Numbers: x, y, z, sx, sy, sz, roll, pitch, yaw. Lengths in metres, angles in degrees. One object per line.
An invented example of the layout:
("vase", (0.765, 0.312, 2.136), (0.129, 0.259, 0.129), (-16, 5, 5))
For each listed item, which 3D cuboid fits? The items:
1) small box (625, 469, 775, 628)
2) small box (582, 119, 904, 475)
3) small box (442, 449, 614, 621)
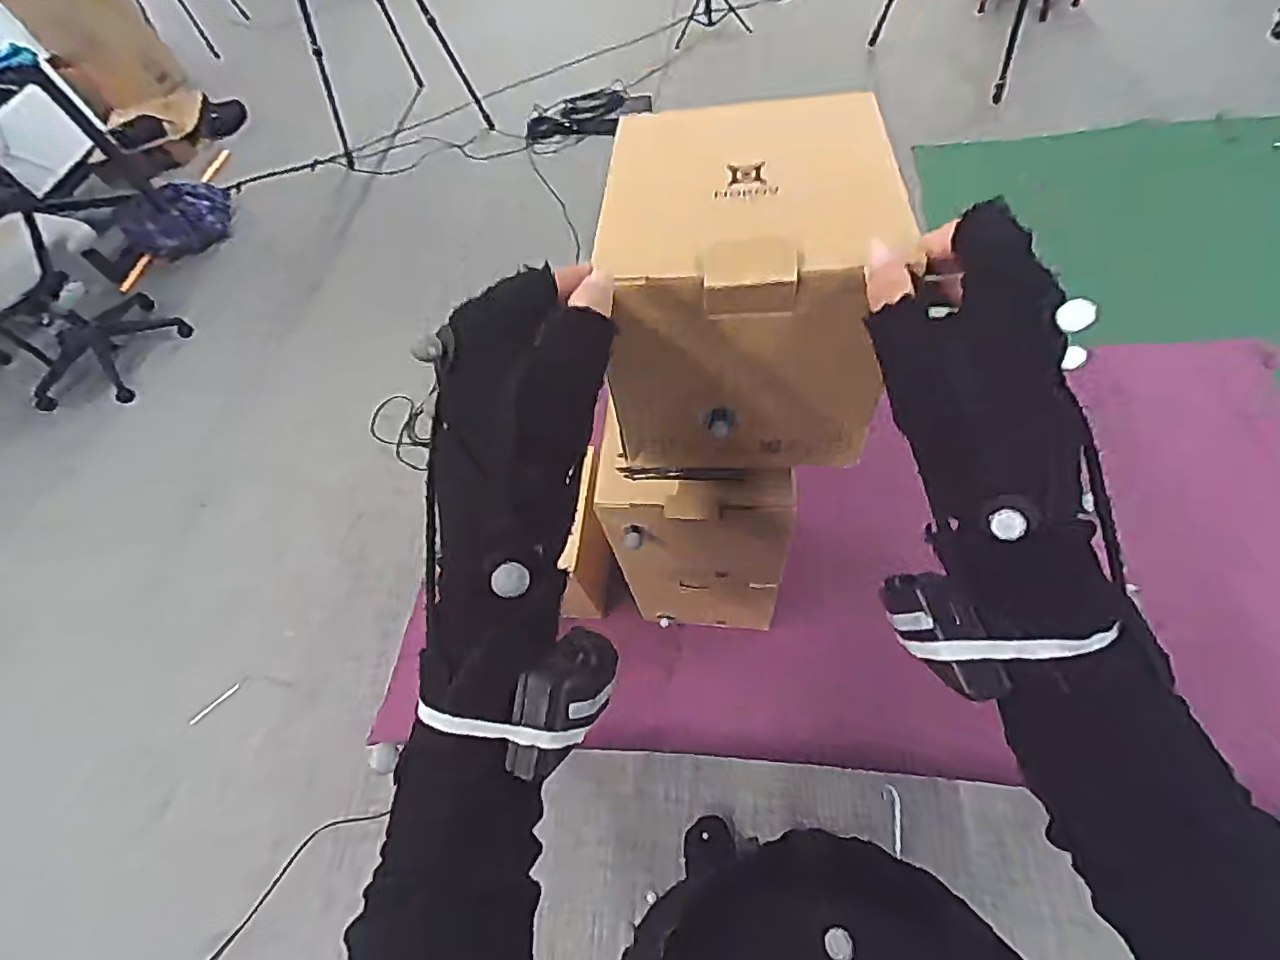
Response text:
("small box", (0.084, 0.079, 0.690), (0.168, 0.176, 0.179), (2, 59, 10))
("small box", (0.065, -0.123, 0.387), (0.168, 0.176, 0.179), (0, 56, 8))
("small box", (-0.134, 0.076, 0.727), (0.168, 0.176, 0.179), (0, 59, 10))
